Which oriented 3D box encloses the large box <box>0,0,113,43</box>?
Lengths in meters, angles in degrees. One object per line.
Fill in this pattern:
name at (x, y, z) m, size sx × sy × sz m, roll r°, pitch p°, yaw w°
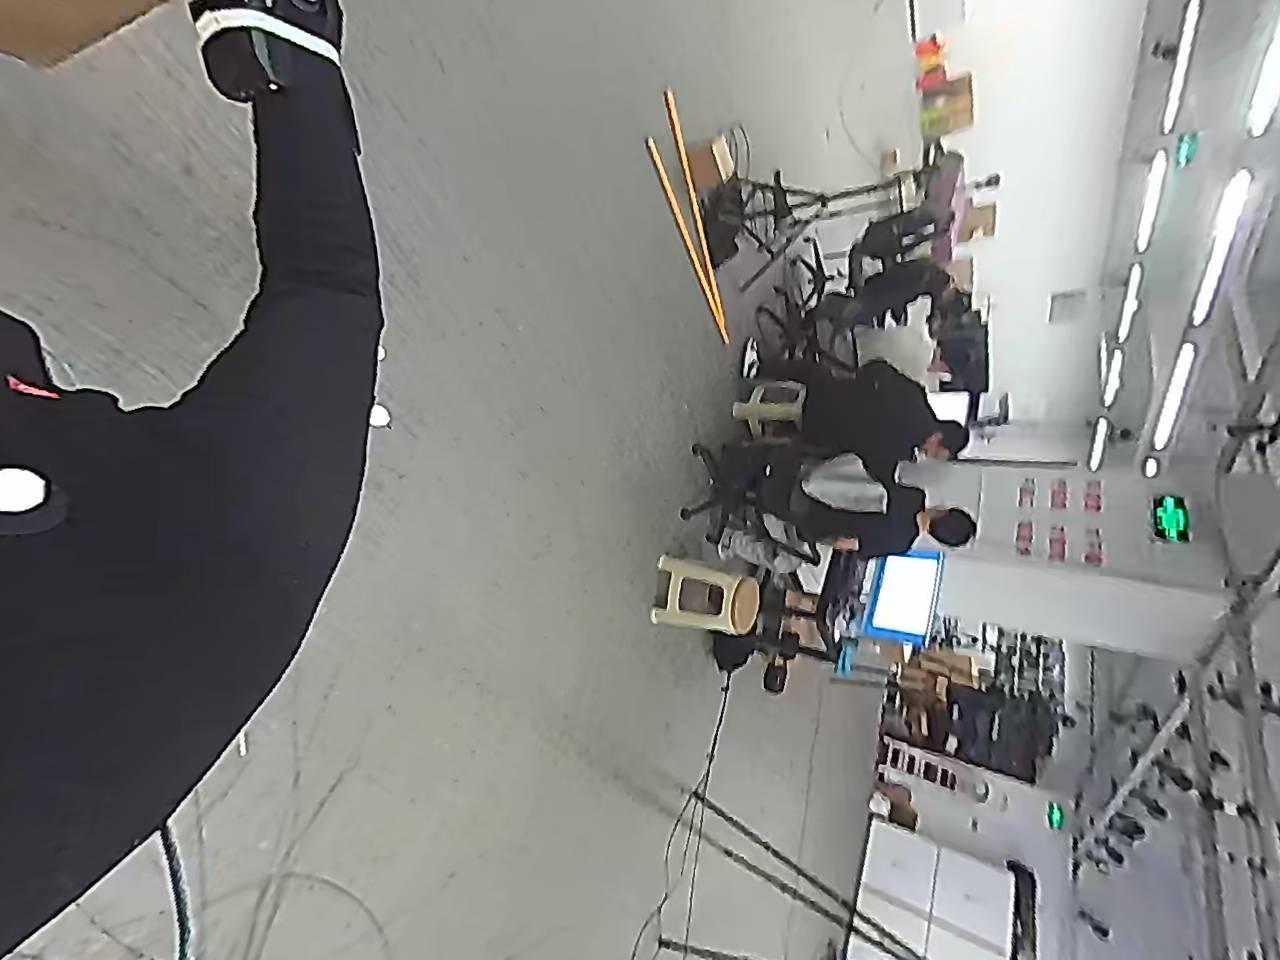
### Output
large box at (-0.501, -0.469, 0.211) m, size 0.408 × 0.320 × 0.320 m, roll -13°, pitch 116°, yaw -56°
